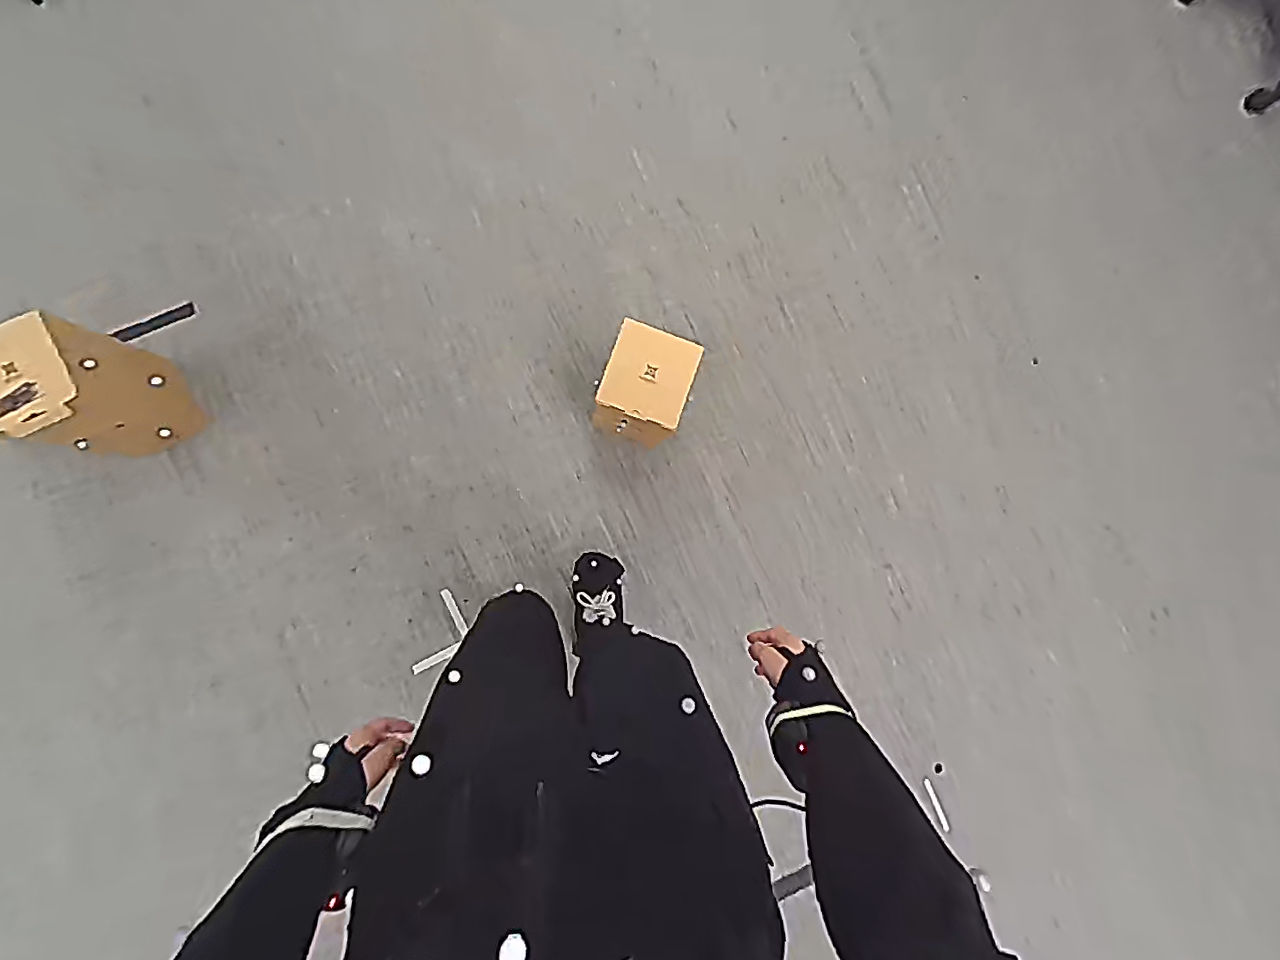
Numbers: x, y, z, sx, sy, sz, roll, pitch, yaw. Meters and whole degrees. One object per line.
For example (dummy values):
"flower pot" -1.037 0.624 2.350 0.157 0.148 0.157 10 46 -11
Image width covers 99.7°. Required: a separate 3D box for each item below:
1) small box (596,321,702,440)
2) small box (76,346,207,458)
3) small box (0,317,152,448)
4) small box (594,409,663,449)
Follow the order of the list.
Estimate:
"small box" 0.010 -0.196 1.115 0.168 0.176 0.179 19 87 -5
"small box" -1.106 -0.159 1.178 0.168 0.176 0.179 -29 89 -7
"small box" -1.086 -0.170 1.015 0.168 0.176 0.179 -28 89 -7
"small box" -0.008 -0.188 1.278 0.168 0.176 0.179 20 85 -5
